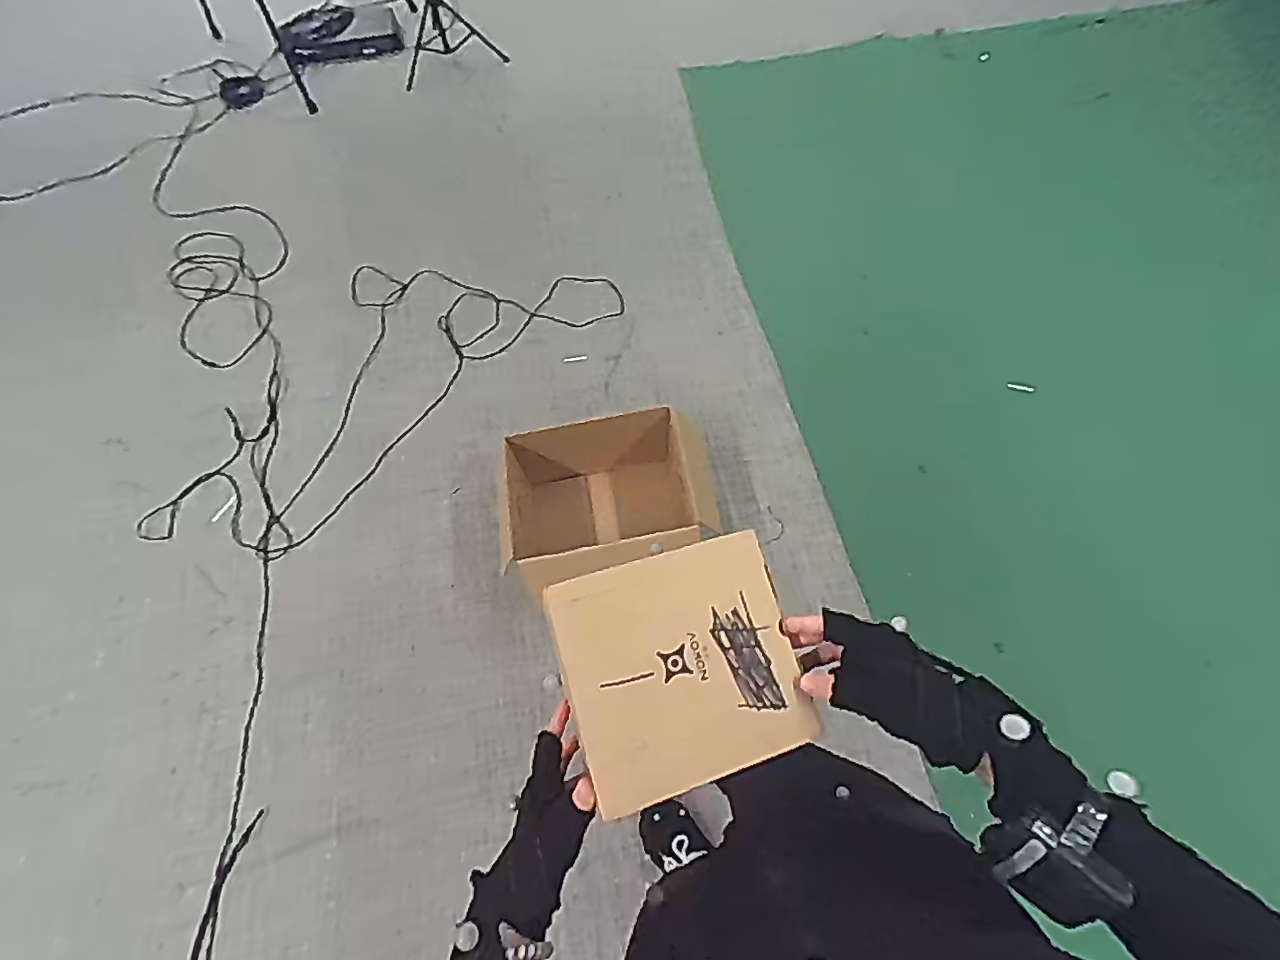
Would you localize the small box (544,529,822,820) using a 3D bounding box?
[{"bbox_3d":[0.018,0.152,0.470,0.179,0.176,0.168,-14,77,-13],"label":"small box"}]
